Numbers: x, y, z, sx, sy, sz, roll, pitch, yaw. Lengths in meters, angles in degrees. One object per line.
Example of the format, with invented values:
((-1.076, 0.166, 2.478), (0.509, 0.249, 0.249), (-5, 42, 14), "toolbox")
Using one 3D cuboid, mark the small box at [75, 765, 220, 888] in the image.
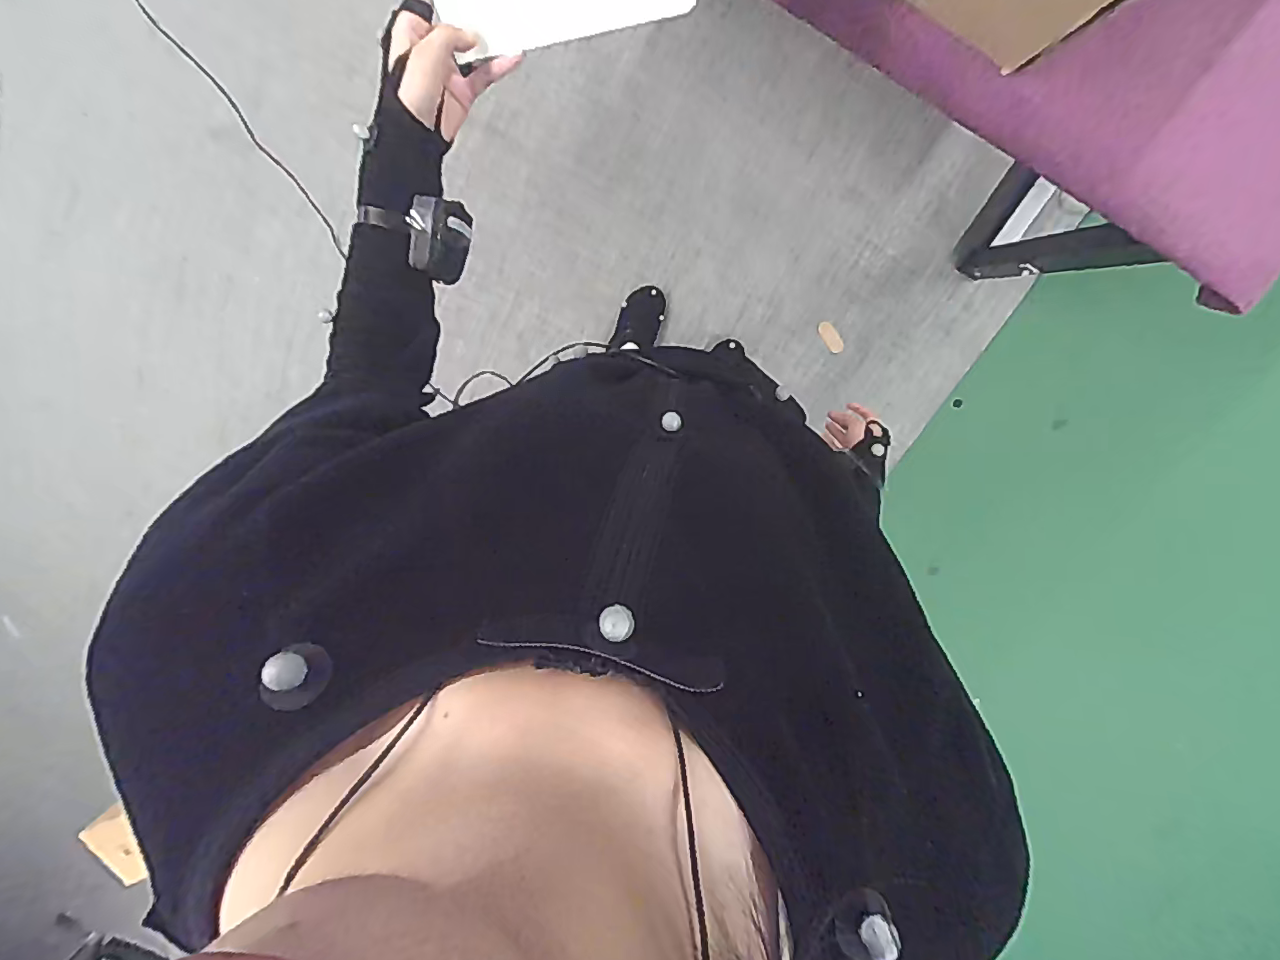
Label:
((-1.212, 0.858, 1.348), (0.168, 0.176, 0.179), (-27, 101, 13), "small box")
